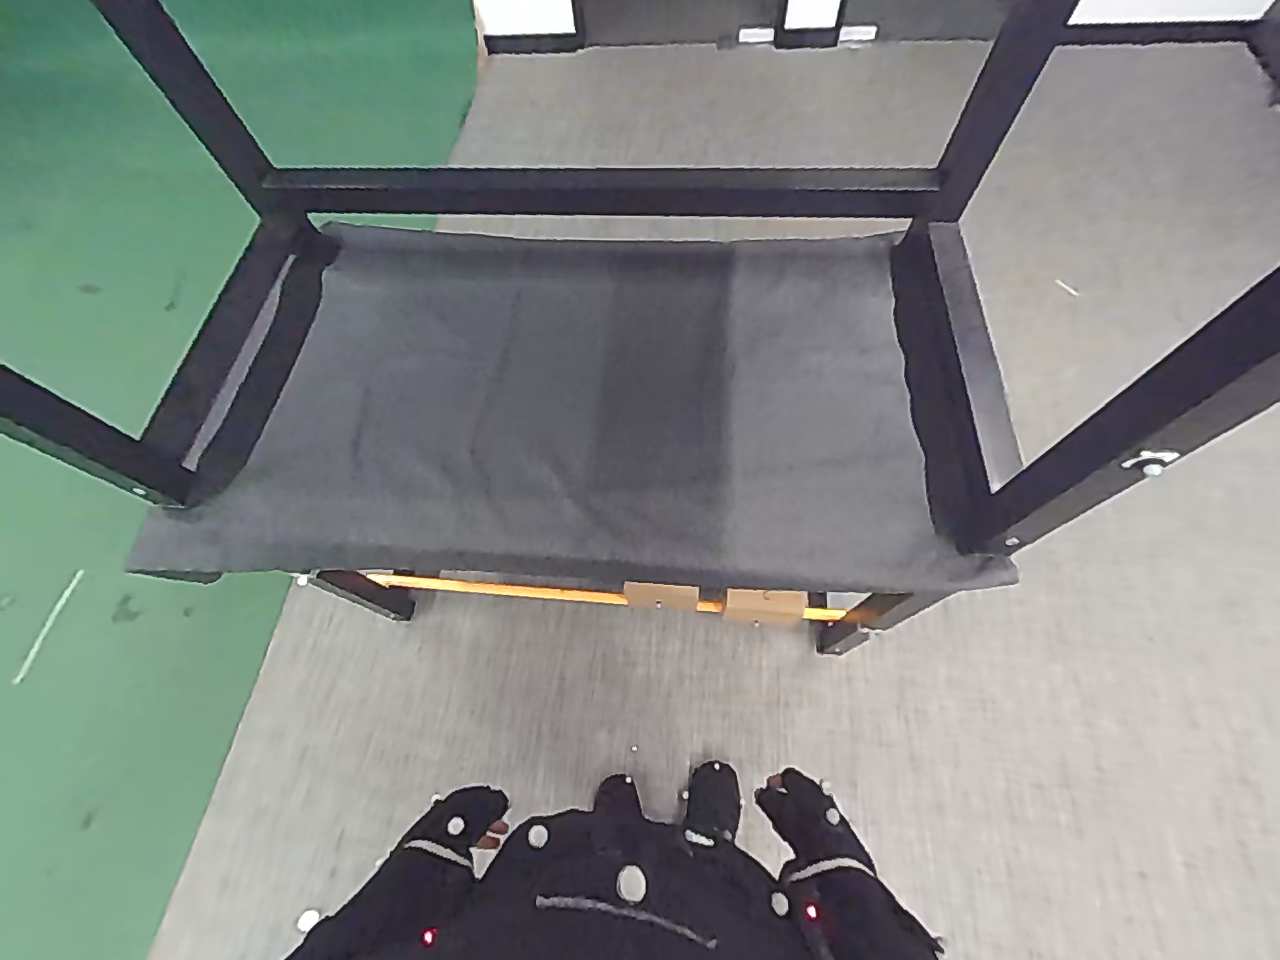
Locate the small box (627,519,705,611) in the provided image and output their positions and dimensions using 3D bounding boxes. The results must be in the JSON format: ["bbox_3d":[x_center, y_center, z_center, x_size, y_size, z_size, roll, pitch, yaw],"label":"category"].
[{"bbox_3d":[0.065,0.206,1.275,0.168,0.176,0.179,3,65,5],"label":"small box"}]
